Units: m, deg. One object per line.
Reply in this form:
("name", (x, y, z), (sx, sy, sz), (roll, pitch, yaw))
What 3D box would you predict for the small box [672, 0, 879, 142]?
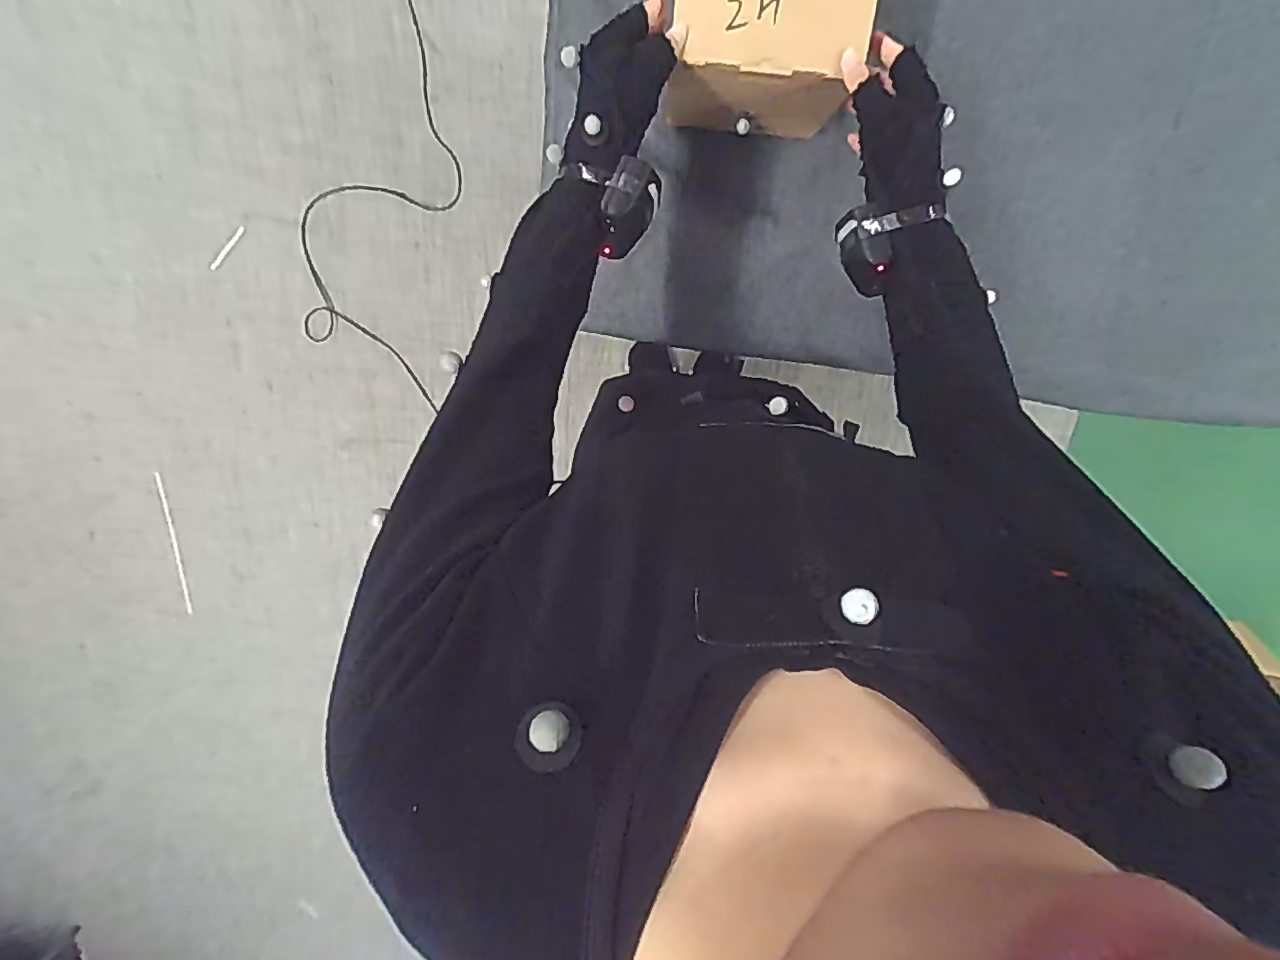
("small box", (0.121, -0.450, 0.510), (0.168, 0.176, 0.179), (6, 107, 1))
